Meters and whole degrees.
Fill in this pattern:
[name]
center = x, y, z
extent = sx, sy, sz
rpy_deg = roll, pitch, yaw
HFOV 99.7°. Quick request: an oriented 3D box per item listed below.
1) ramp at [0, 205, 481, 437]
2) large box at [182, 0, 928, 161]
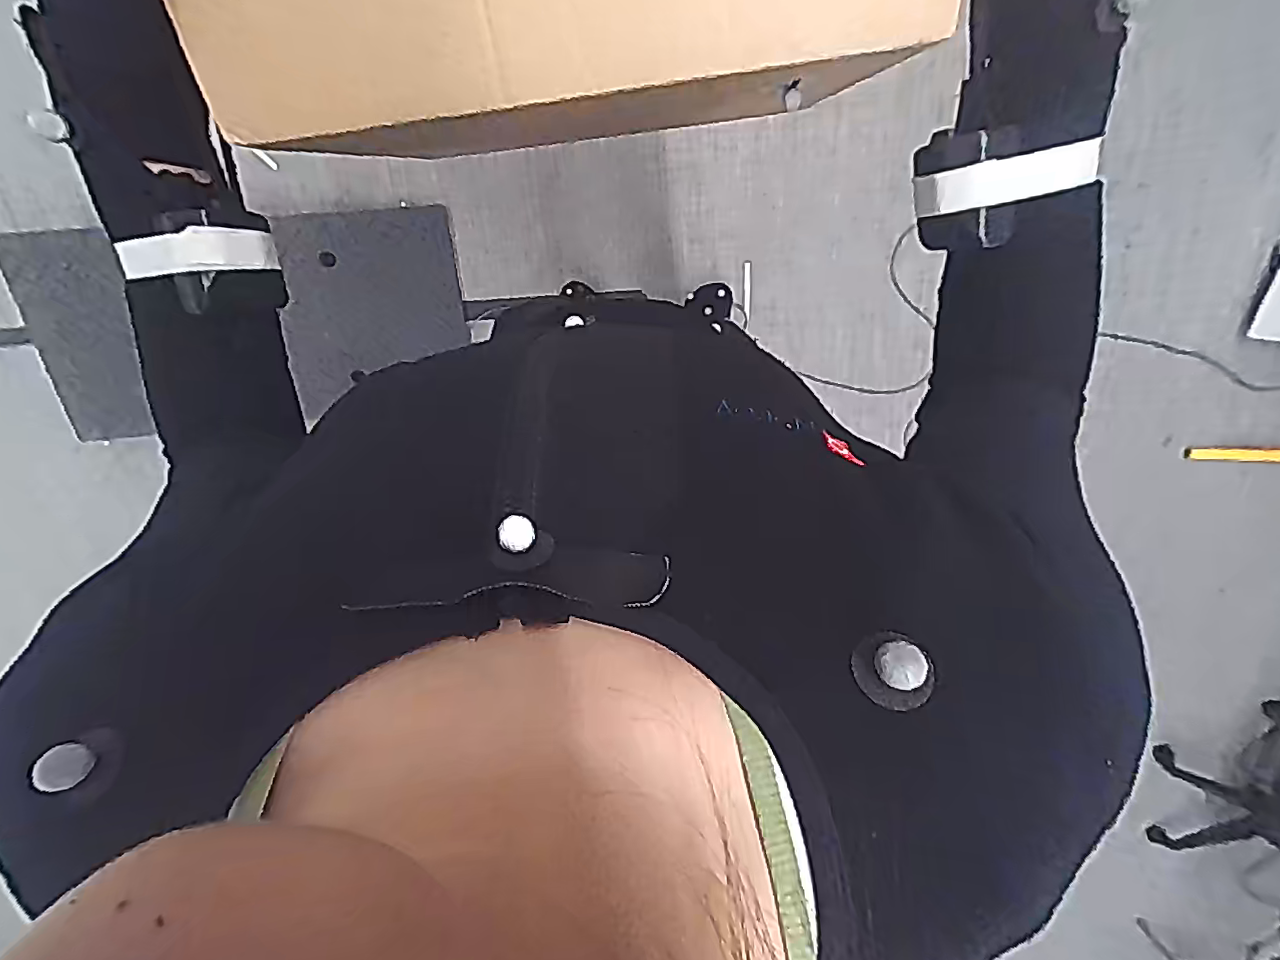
[ramp]
center = -0.946, -0.395, 1.359
extent = 0.991, 0.206, 0.509
rpy_deg = -4, 110, 5
[large box]
center = -0.057, -0.423, 0.366
extent = 0.408, 0.320, 0.320
rpy_deg = -6, 119, 6
